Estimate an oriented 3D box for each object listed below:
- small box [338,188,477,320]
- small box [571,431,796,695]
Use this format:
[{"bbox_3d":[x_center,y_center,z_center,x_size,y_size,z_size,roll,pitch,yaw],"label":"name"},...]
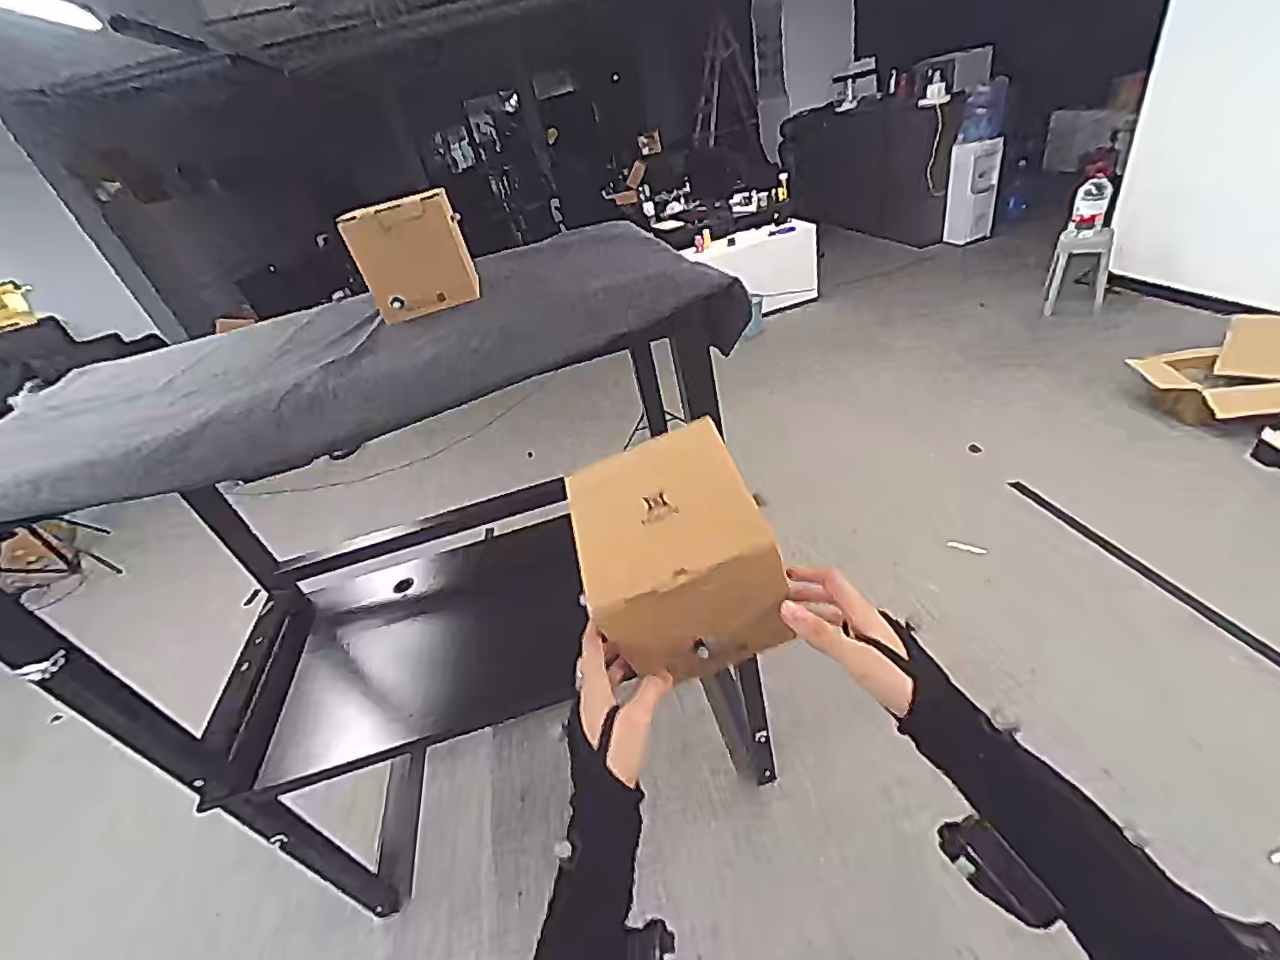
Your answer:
[{"bbox_3d":[-0.397,-0.398,0.958,0.168,0.176,0.179,-19,34,-6],"label":"small box"},{"bbox_3d":[0.044,0.086,0.556,0.168,0.176,0.179,-23,43,3],"label":"small box"}]
